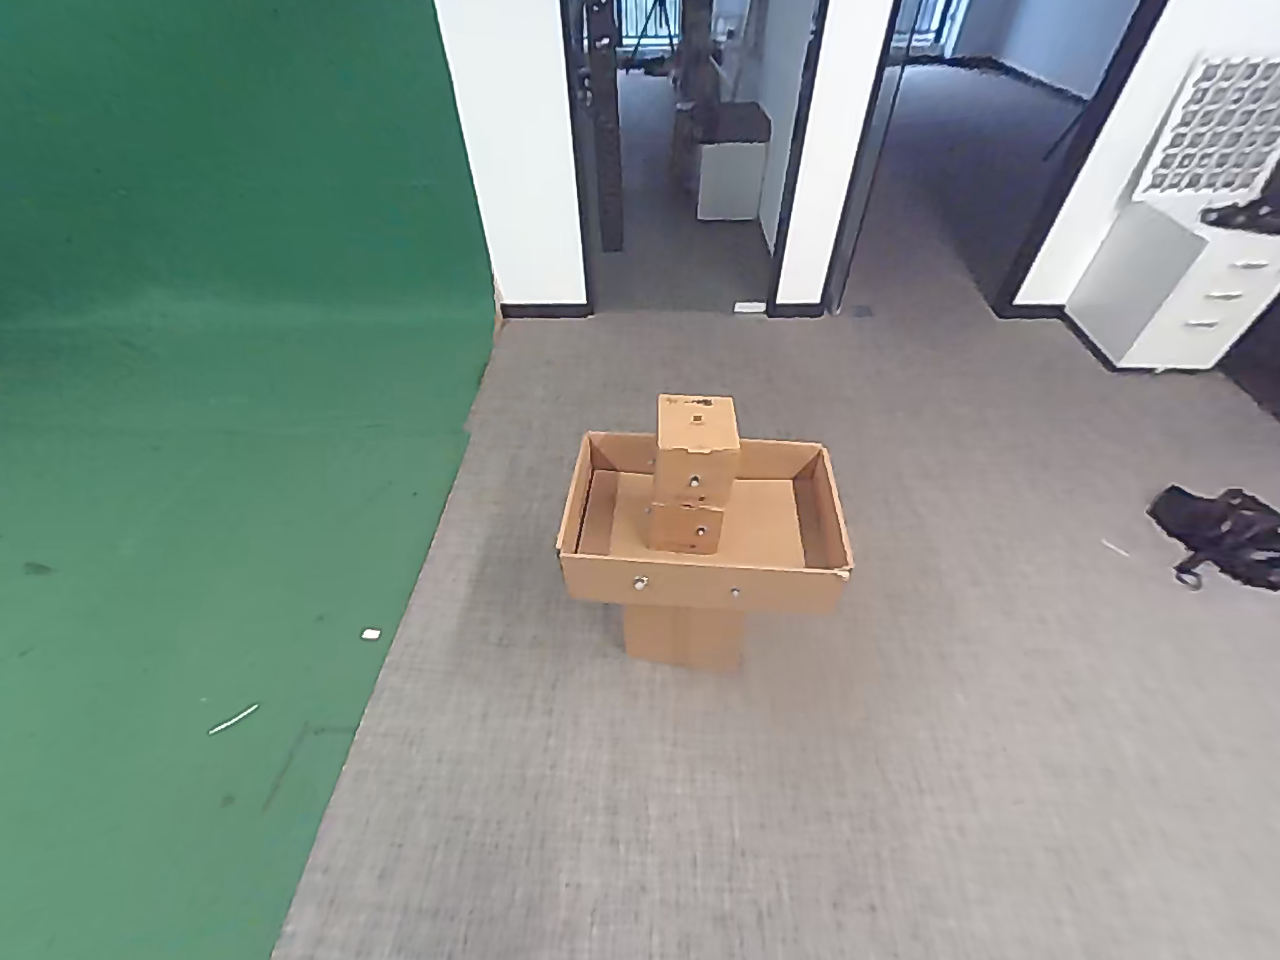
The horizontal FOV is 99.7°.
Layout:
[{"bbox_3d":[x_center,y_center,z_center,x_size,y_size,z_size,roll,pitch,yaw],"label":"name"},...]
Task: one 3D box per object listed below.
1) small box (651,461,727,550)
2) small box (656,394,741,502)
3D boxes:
[{"bbox_3d":[0.116,0.051,1.303,0.168,0.176,0.179,5,45,2],"label":"small box"},{"bbox_3d":[0.124,-0.068,1.190,0.168,0.176,0.179,3,47,0],"label":"small box"}]
